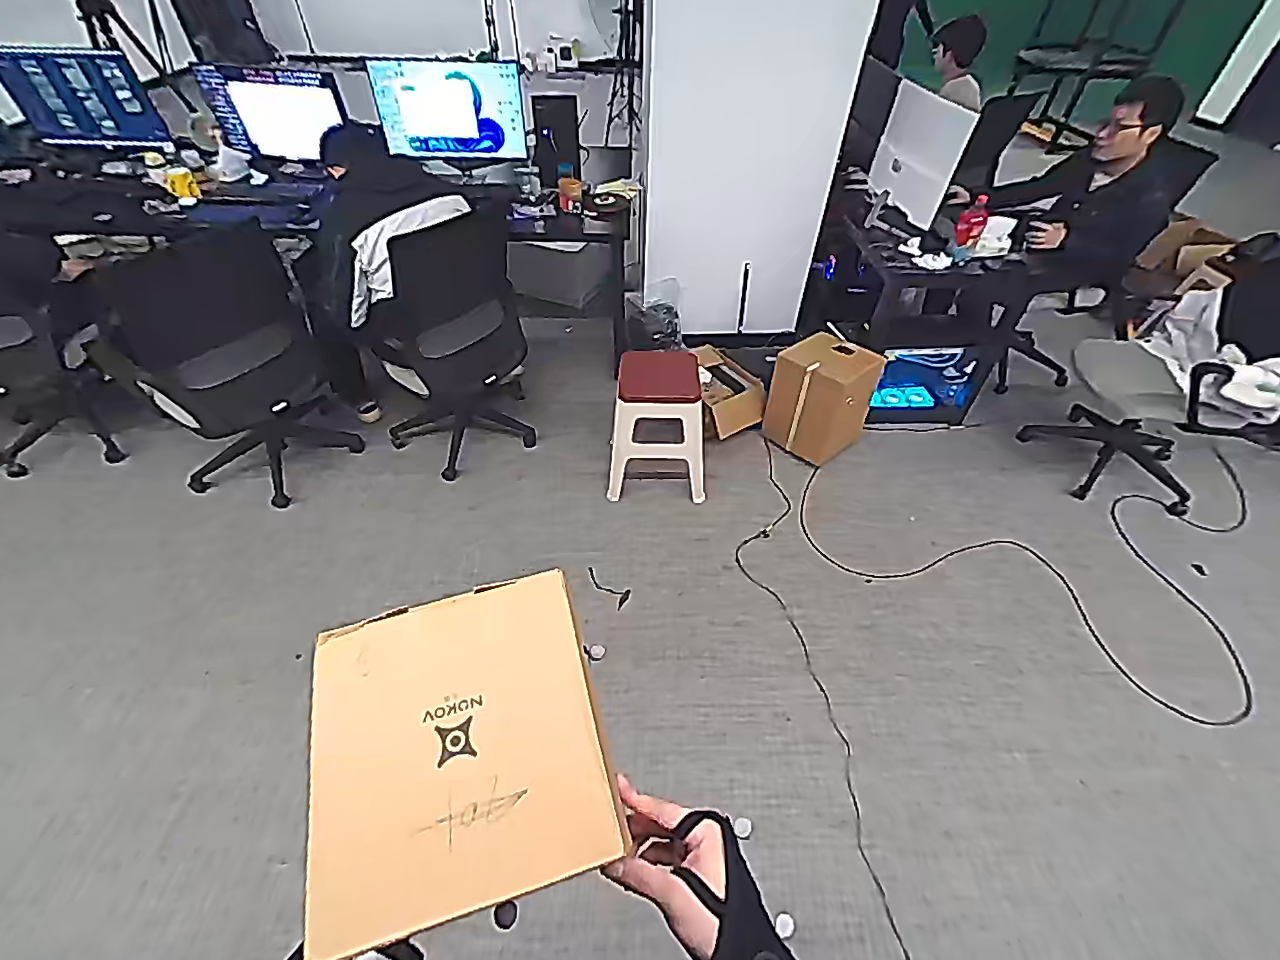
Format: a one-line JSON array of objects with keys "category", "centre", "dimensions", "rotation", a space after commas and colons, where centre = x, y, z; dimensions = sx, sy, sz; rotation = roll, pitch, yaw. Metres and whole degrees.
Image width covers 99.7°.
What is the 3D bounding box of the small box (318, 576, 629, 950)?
[{"category": "small box", "centre": [-0.108, 0.199, 0.400], "dimensions": [0.168, 0.176, 0.179], "rotation": [-14, 59, -8]}]
